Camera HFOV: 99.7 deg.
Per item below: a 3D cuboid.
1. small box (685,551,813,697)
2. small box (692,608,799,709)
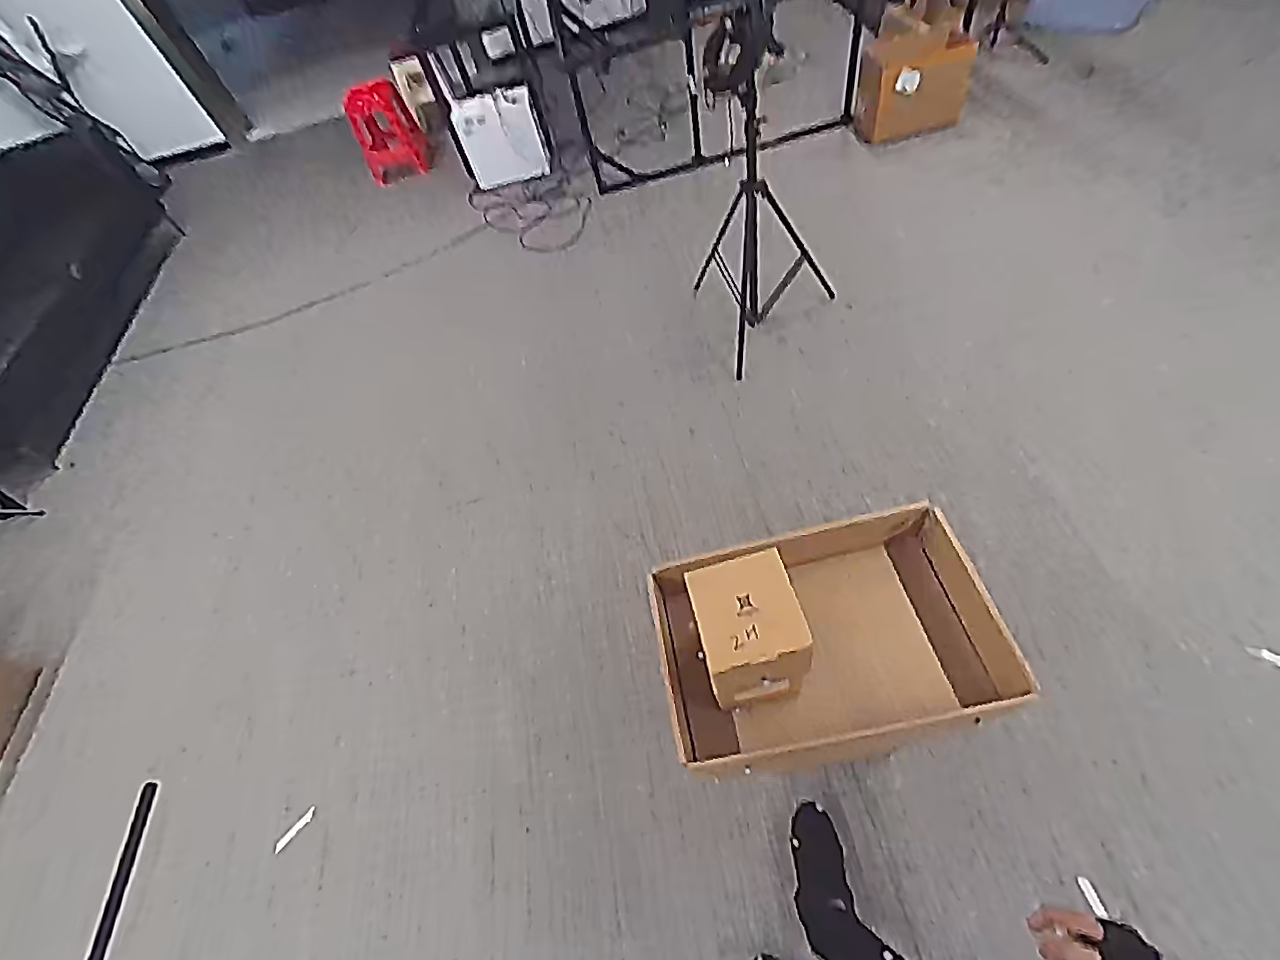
[{"bbox_3d":[0.185,0.252,0.935,0.168,0.176,0.179,-17,55,3],"label":"small box"},{"bbox_3d":[0.212,0.341,1.072,0.168,0.176,0.179,-15,53,4],"label":"small box"}]
